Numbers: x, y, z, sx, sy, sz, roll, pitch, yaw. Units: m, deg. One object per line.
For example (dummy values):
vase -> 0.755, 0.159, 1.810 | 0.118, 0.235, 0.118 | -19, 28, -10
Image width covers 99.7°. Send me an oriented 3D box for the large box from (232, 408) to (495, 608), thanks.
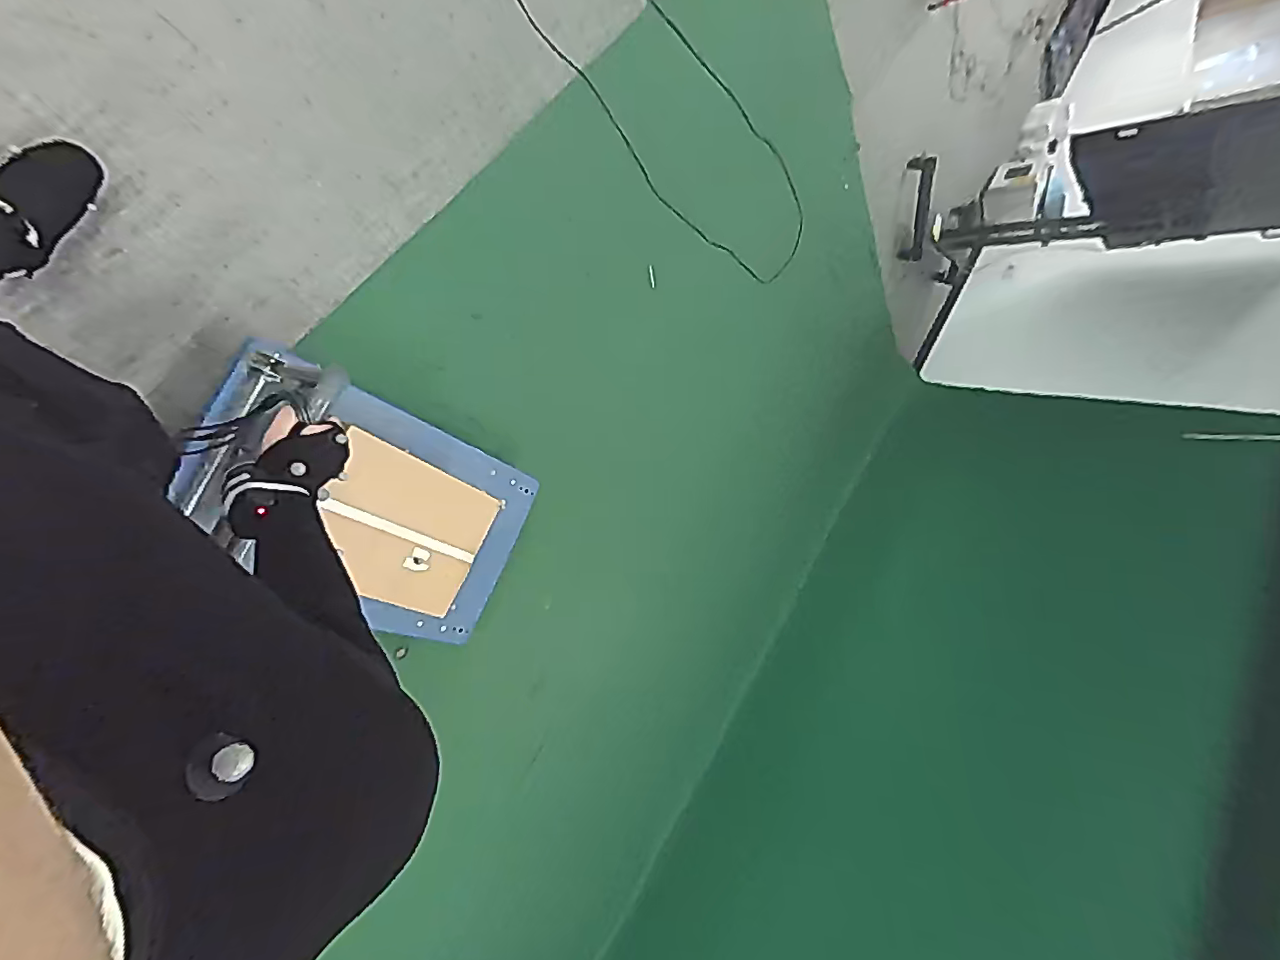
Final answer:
large box -> -0.642, 0.067, 1.280 | 0.408, 0.320, 0.320 | 36, 75, -47
